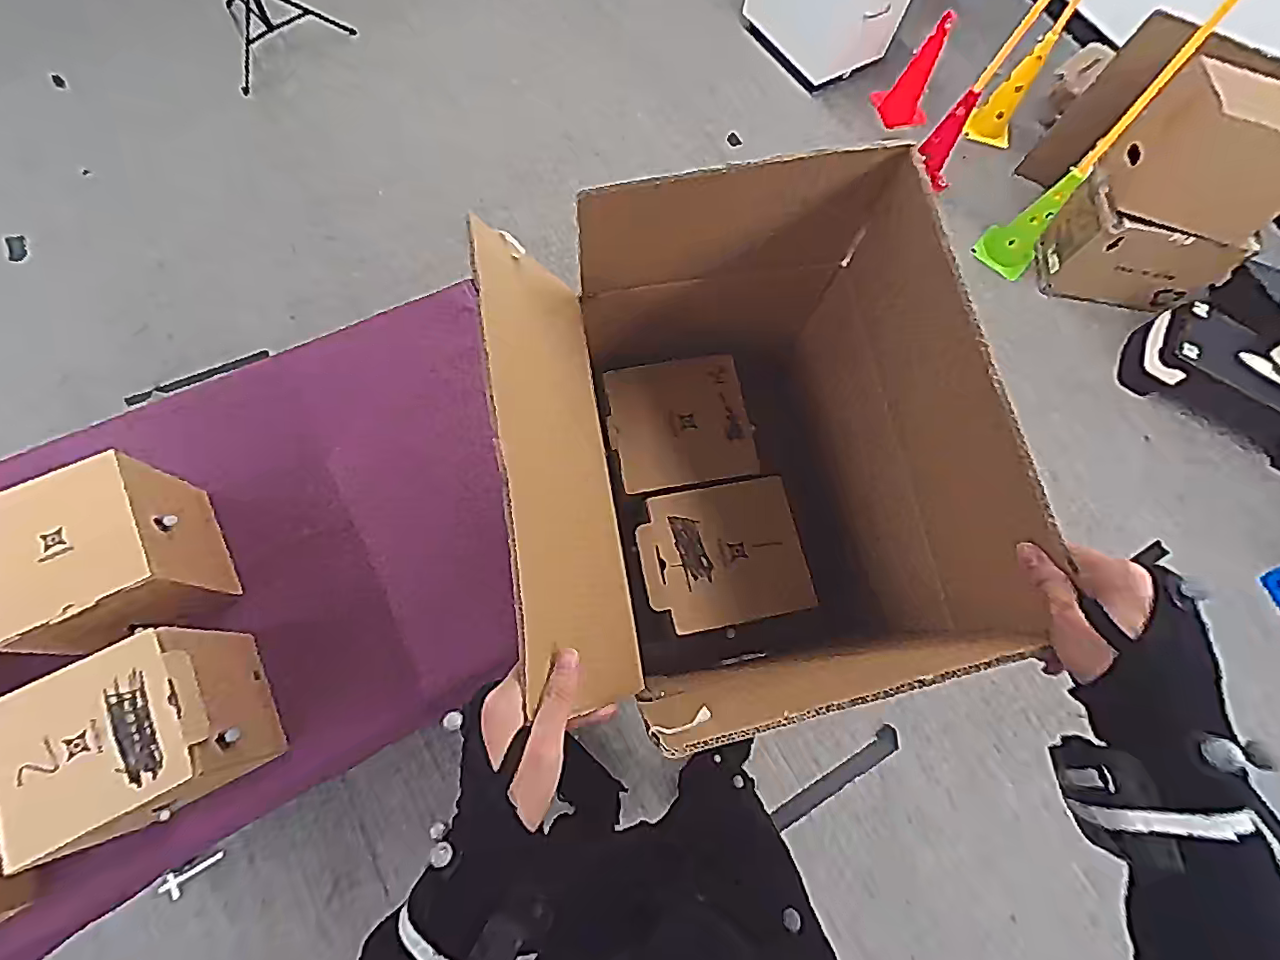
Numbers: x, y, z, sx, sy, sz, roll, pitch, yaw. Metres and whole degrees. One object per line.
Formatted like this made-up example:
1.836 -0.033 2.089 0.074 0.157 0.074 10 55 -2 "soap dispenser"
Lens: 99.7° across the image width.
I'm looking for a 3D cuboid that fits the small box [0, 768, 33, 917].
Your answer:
-0.796 0.422 0.541 0.179 0.176 0.168 -28 76 -15 "small box"
